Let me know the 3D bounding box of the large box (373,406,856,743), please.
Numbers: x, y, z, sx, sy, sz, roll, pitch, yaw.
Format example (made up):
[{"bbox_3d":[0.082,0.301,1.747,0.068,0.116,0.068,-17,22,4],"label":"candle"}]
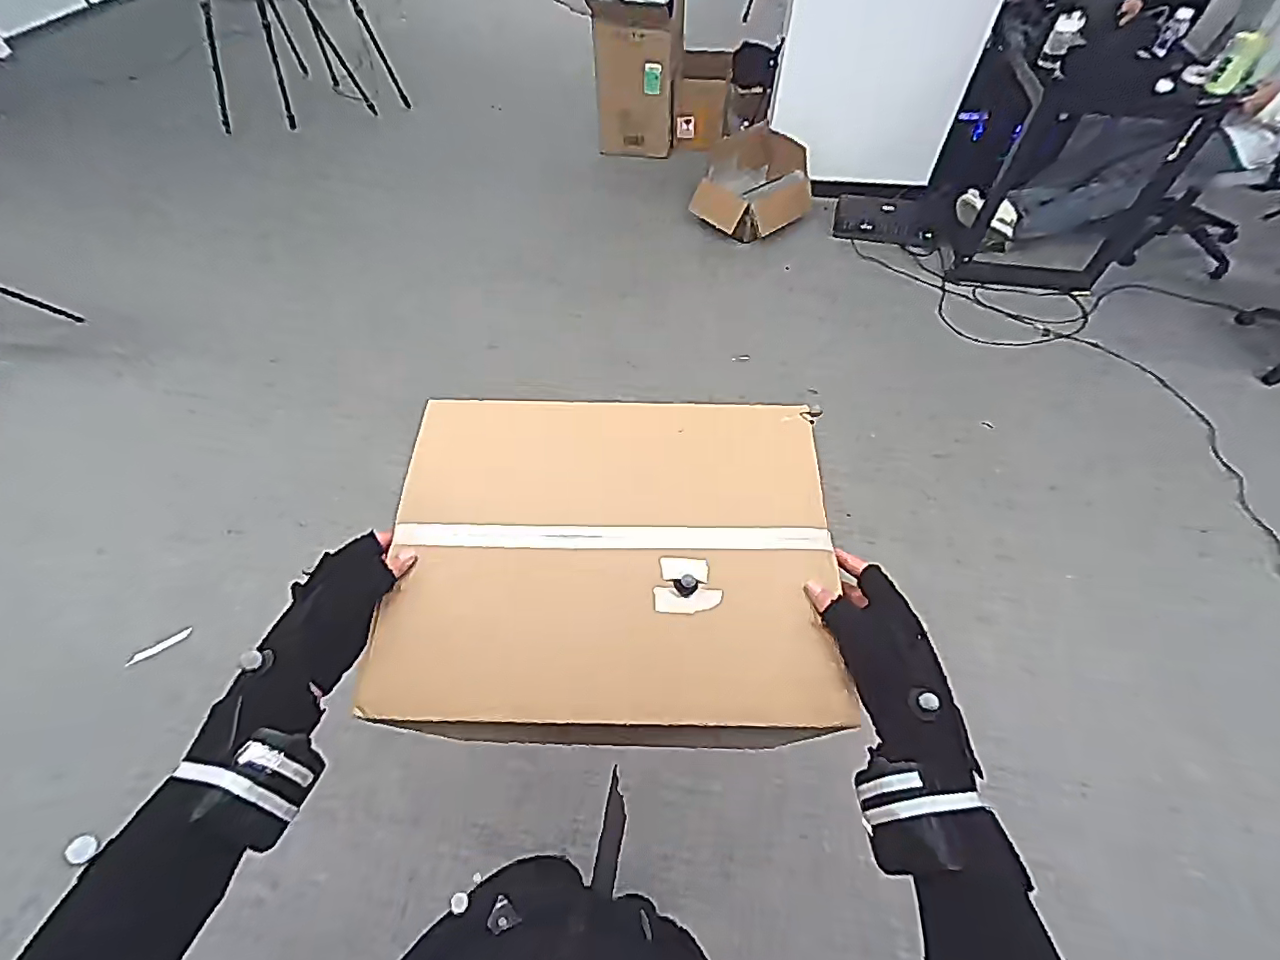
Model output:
[{"bbox_3d":[-0.023,0.129,0.639,0.408,0.320,0.320,1,62,-1],"label":"large box"}]
